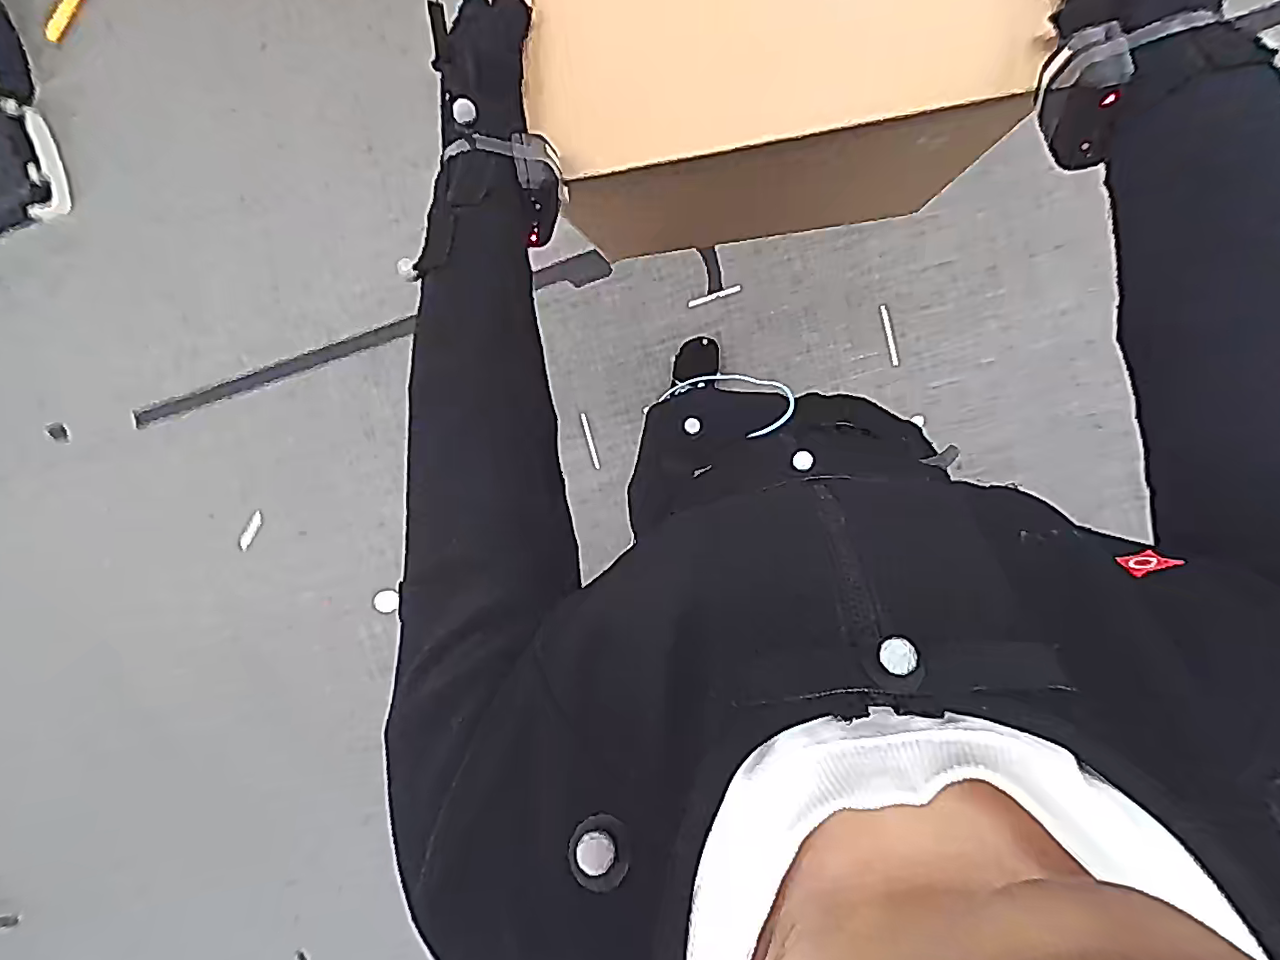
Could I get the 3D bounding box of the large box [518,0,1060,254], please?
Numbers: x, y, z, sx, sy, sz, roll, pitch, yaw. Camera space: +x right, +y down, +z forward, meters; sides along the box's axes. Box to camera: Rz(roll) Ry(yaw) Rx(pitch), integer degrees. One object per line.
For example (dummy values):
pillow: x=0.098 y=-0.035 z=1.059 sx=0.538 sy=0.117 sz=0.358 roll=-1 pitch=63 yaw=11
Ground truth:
large box: x=0.112 y=-0.451 z=0.546 sx=0.408 sy=0.320 sz=0.320 roll=-5 pitch=100 yaw=9
